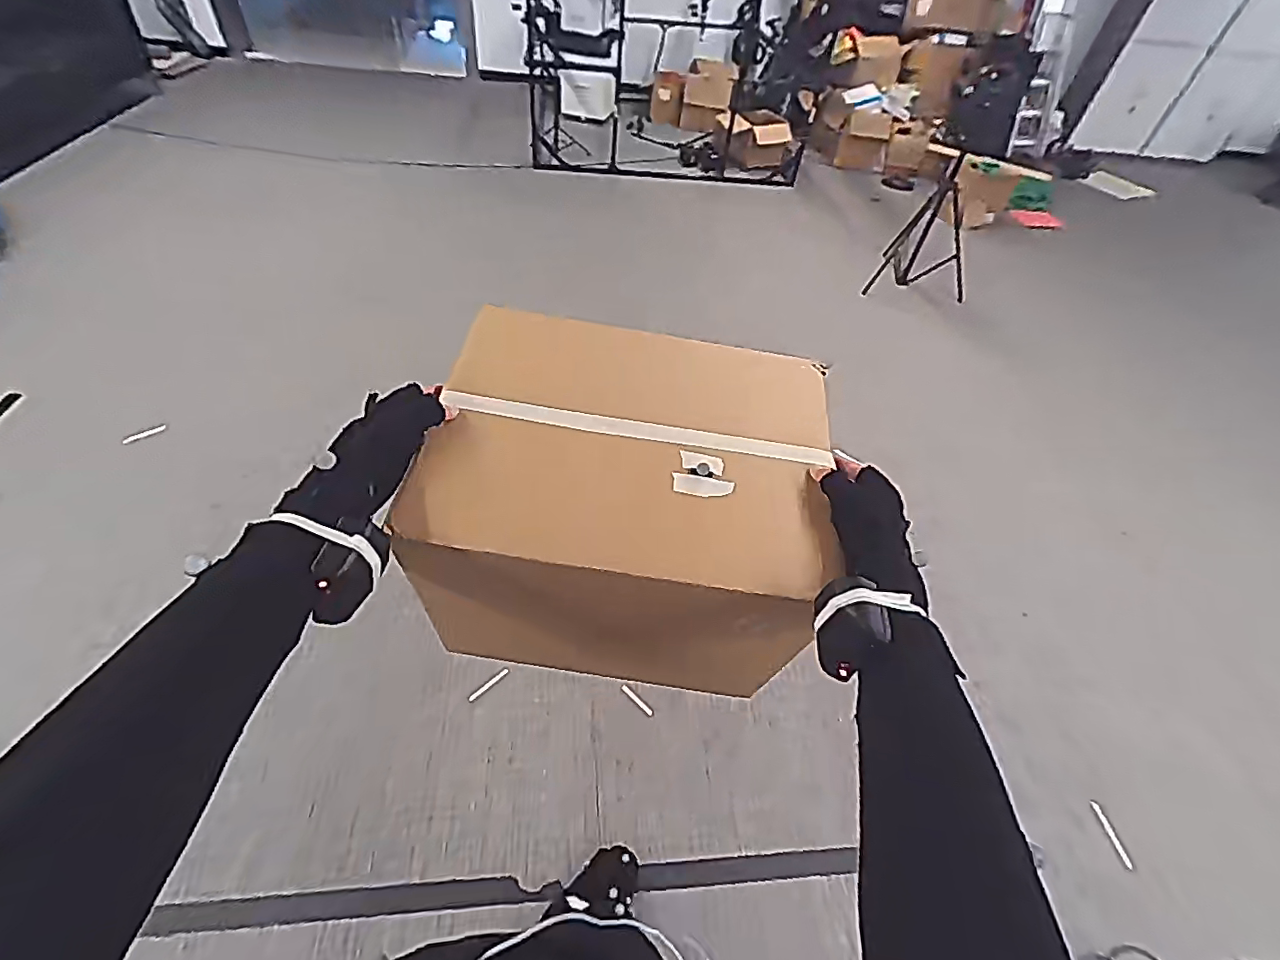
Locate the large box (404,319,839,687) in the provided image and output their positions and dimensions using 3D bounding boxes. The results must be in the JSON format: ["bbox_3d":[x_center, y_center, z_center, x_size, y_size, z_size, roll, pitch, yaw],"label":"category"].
[{"bbox_3d":[-0.019,0.043,0.687,0.408,0.320,0.320,10,55,-2],"label":"large box"}]
